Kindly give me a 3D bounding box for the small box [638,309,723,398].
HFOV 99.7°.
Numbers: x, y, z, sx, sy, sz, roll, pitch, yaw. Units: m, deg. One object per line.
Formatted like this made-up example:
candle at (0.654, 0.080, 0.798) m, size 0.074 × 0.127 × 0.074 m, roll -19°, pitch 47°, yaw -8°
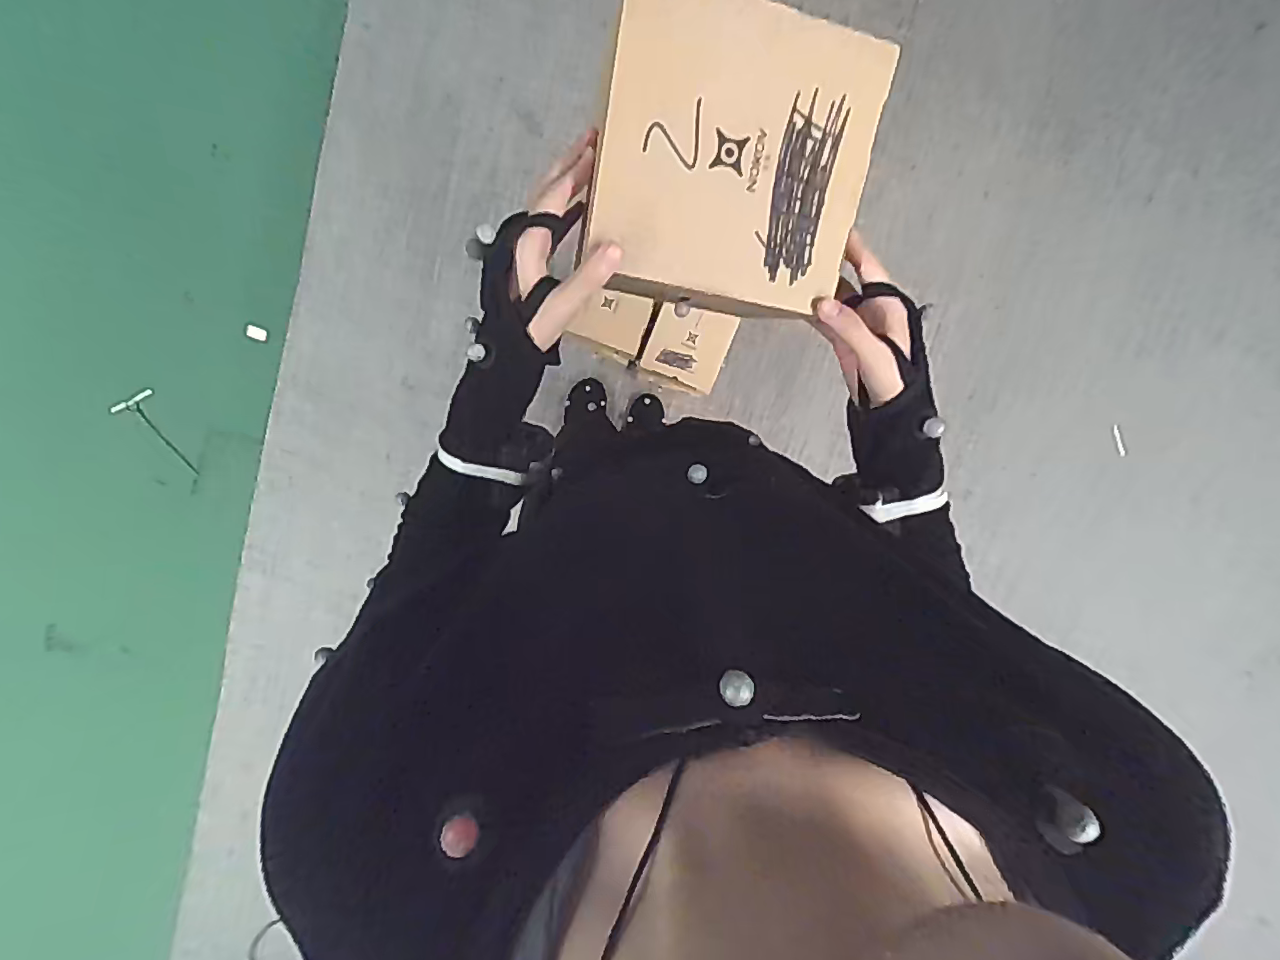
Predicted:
small box at (0.095, -0.316, 1.378) m, size 0.168 × 0.176 × 0.179 m, roll 16°, pitch 99°, yaw -5°
